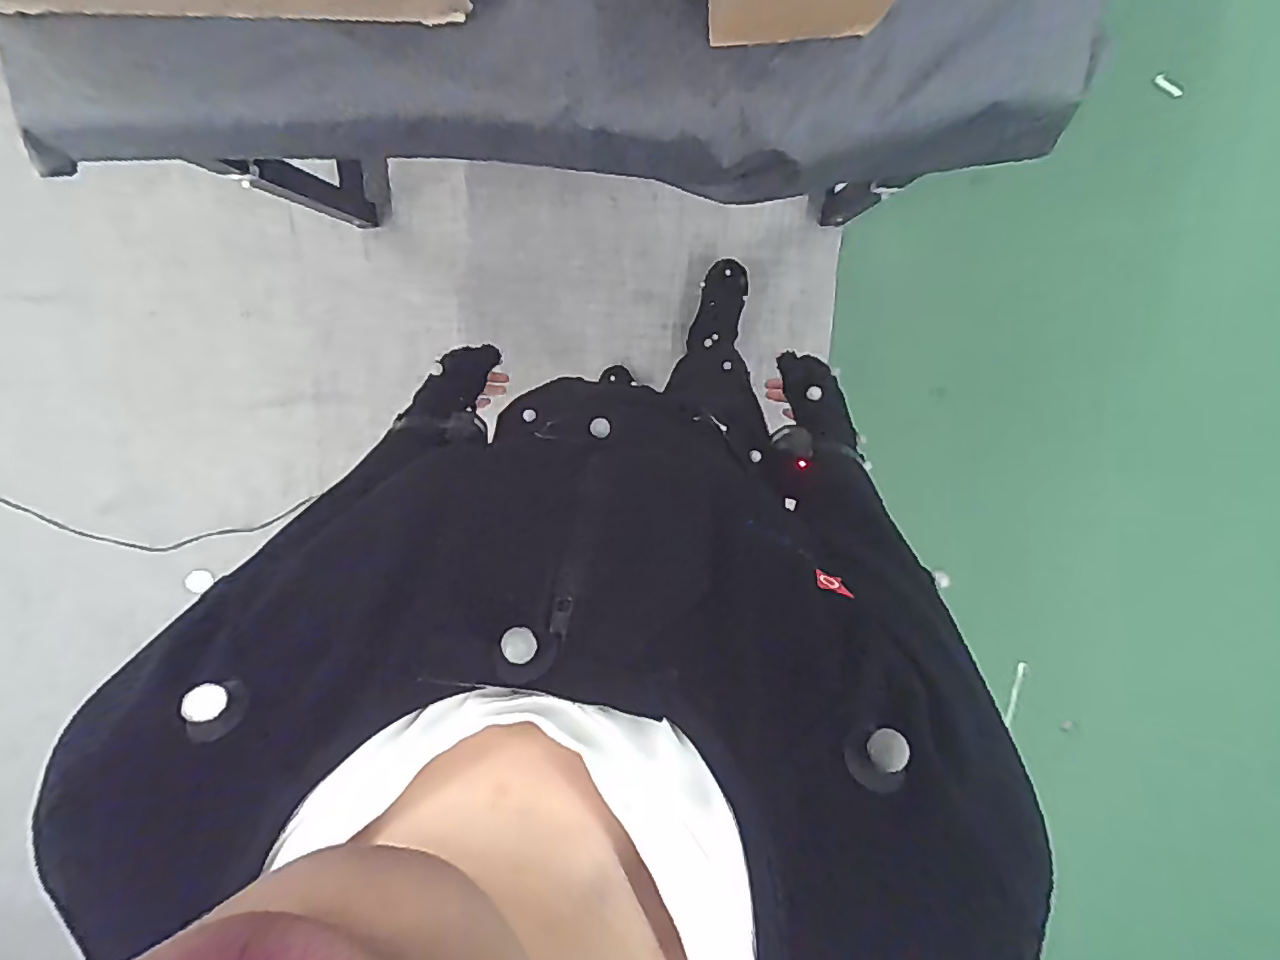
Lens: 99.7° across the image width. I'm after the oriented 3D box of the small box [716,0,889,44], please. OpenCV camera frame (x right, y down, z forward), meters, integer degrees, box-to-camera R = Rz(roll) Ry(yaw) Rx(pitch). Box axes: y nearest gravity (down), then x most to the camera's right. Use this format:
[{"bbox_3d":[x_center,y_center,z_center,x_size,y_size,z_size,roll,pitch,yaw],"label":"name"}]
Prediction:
[{"bbox_3d":[0.164,-0.542,0.501,0.179,0.176,0.168,-3,105,1],"label":"small box"}]
